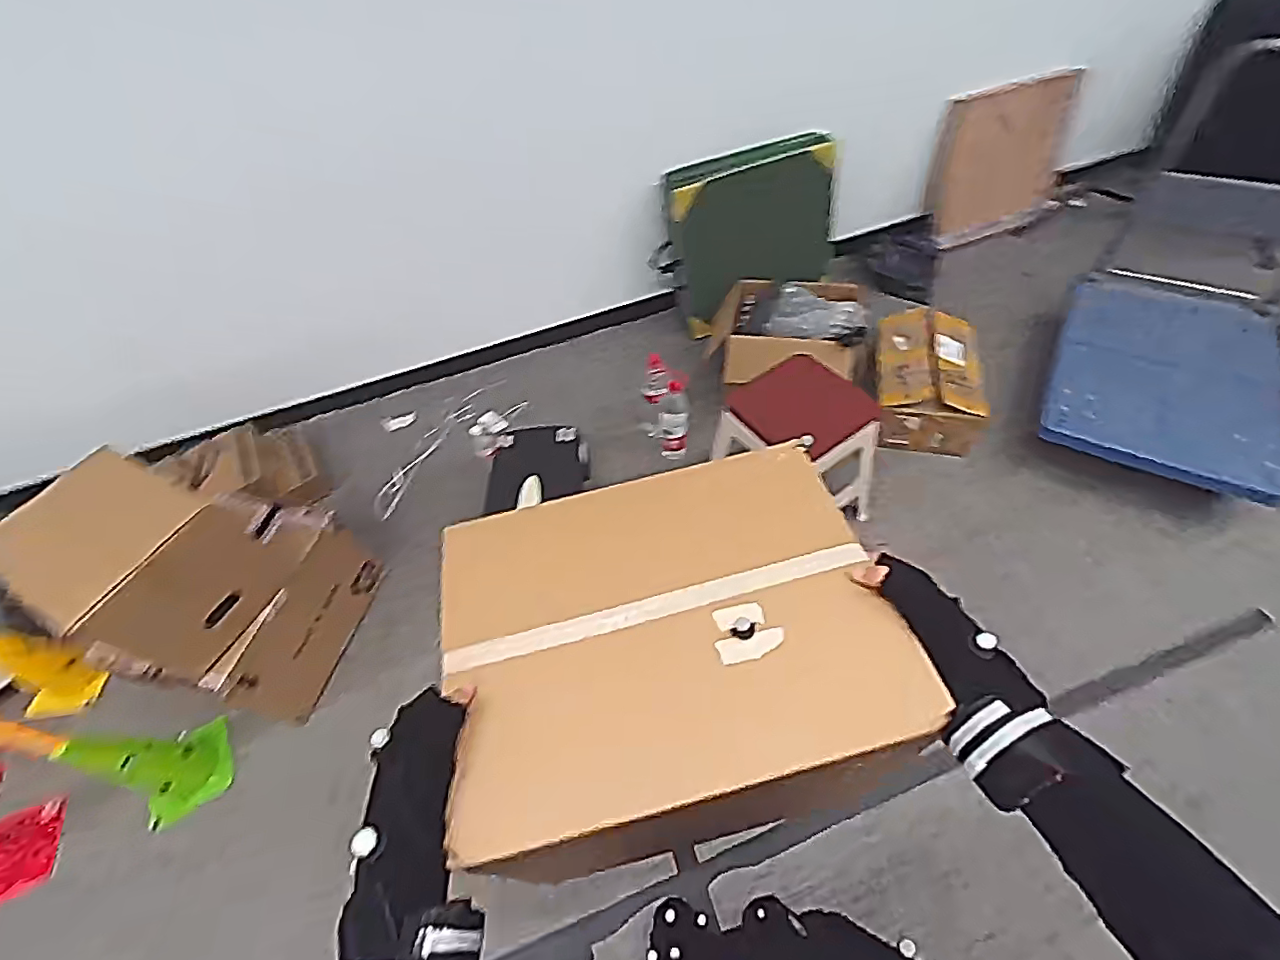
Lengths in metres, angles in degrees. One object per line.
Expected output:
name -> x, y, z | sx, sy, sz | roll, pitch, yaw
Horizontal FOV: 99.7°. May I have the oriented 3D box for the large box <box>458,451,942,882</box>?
large box -> 0.038, 0.220, 0.632 | 0.408, 0.320, 0.320 | -14, 51, -4
